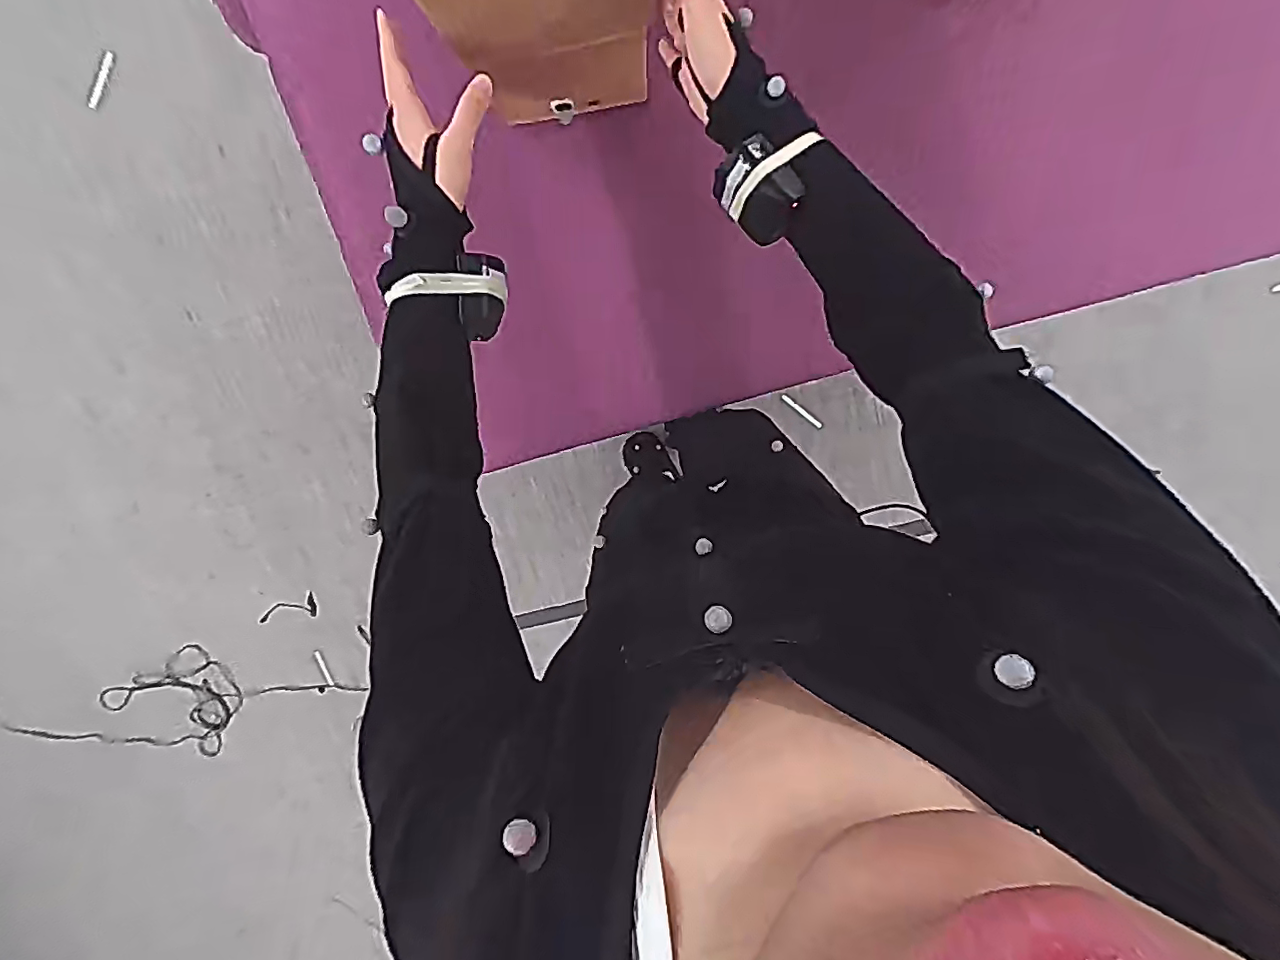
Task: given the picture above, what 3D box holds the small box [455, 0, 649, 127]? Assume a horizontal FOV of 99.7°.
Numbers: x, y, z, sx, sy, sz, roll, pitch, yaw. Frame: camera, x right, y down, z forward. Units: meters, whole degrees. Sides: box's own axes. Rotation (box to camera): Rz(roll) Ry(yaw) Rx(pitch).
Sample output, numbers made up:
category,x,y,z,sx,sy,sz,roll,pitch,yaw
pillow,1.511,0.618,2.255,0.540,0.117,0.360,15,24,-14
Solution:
category,x,y,z,sx,sy,sz,roll,pitch,yaw
small box,-0.086,-0.485,0.532,0.168,0.176,0.179,-9,107,4
